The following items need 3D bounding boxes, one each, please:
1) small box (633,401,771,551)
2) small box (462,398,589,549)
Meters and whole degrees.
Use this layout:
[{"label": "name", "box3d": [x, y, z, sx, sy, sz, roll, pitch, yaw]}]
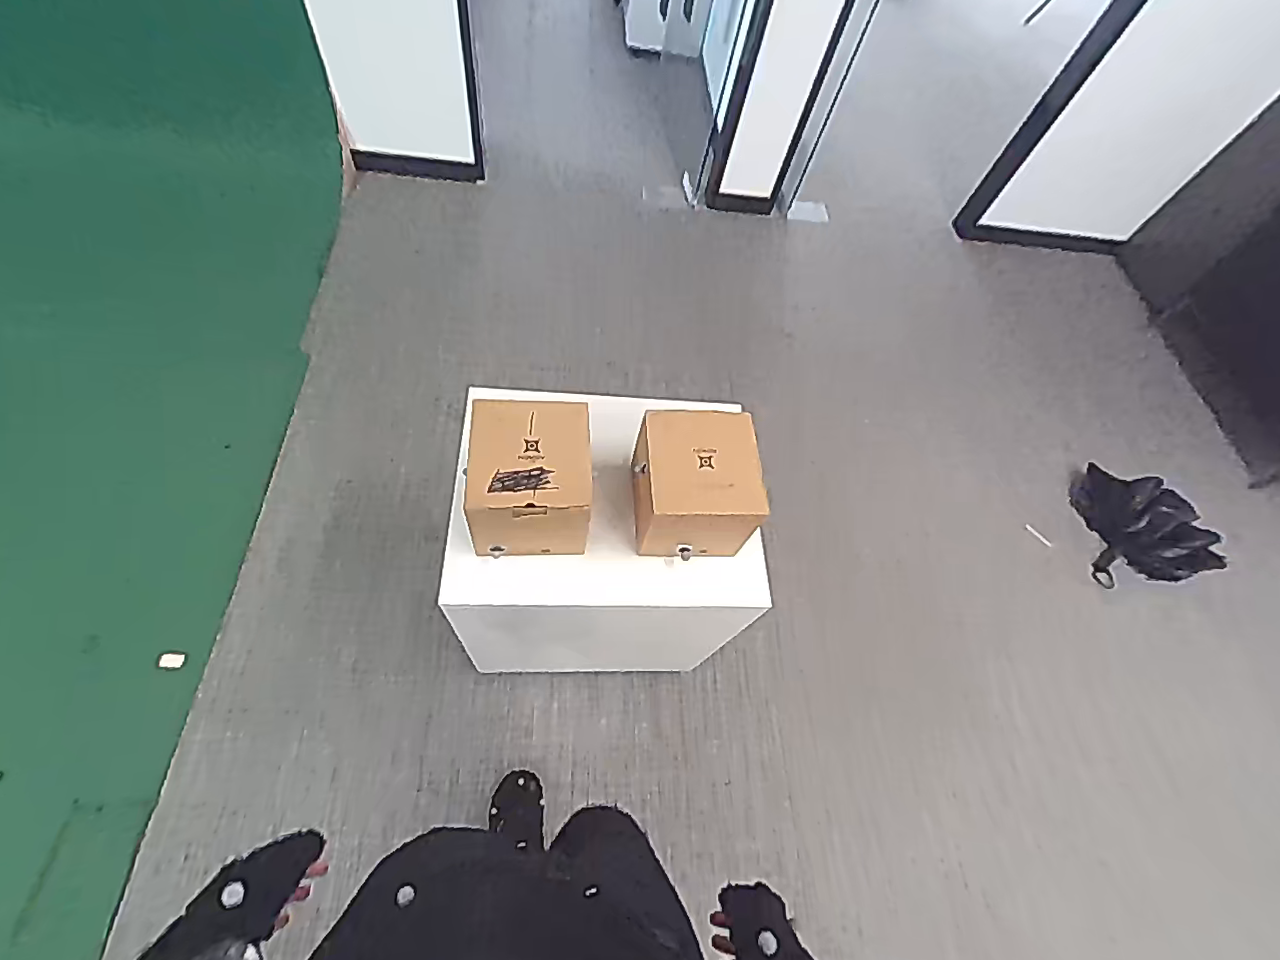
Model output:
[{"label": "small box", "box3d": [0.083, -0.002, 0.832, 0.168, 0.176, 0.179, 0, 63, -9]}, {"label": "small box", "box3d": [-0.164, -0.002, 0.808, 0.168, 0.176, 0.179, 0, 60, -10]}]
